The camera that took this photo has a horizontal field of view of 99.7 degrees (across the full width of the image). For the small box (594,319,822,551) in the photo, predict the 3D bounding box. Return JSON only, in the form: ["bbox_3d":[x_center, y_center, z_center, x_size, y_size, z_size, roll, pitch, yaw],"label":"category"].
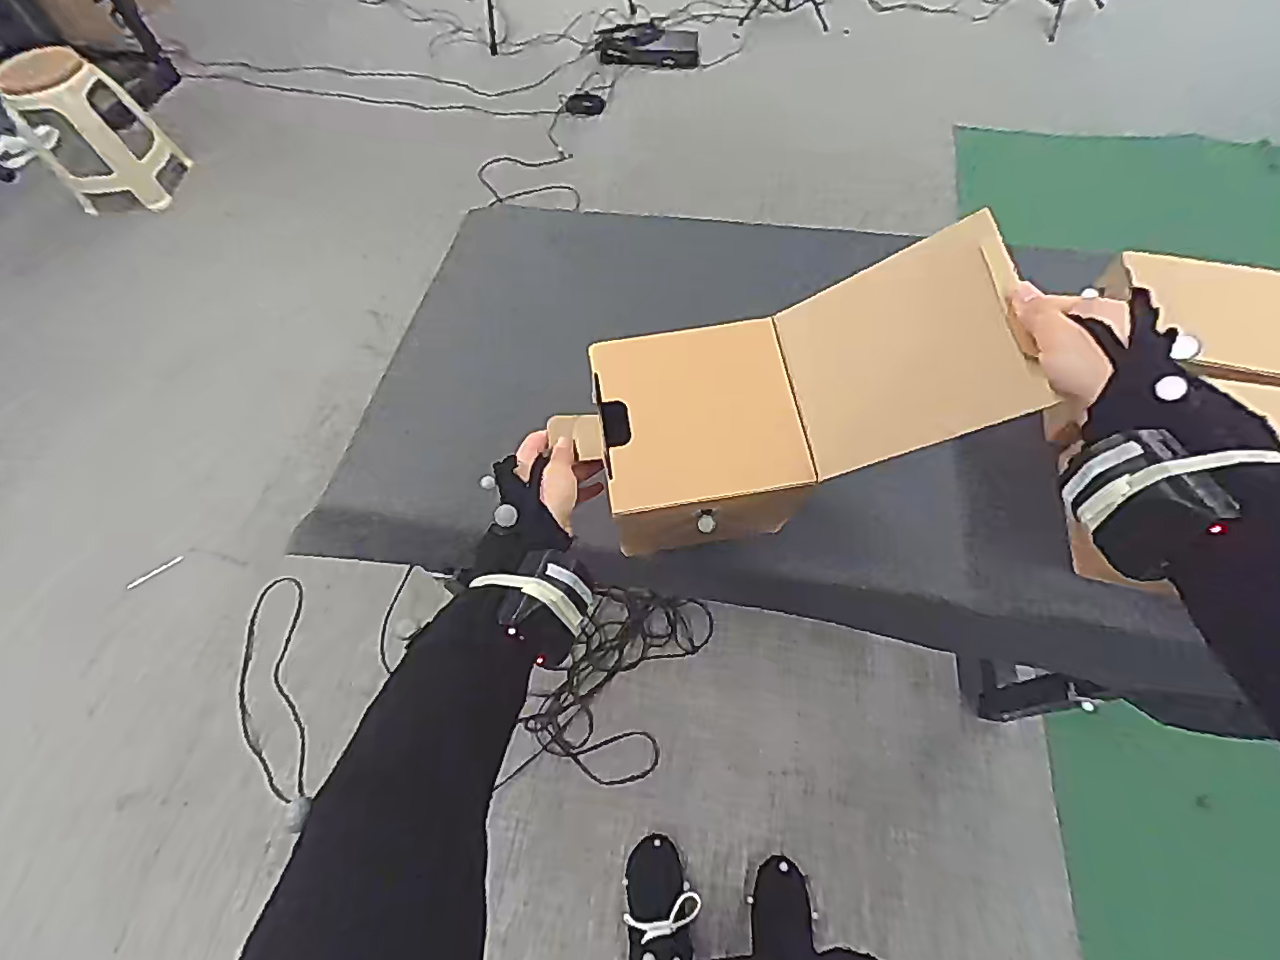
[{"bbox_3d":[0.056,-0.033,0.538,0.179,0.176,0.168,-9,71,0],"label":"small box"}]
